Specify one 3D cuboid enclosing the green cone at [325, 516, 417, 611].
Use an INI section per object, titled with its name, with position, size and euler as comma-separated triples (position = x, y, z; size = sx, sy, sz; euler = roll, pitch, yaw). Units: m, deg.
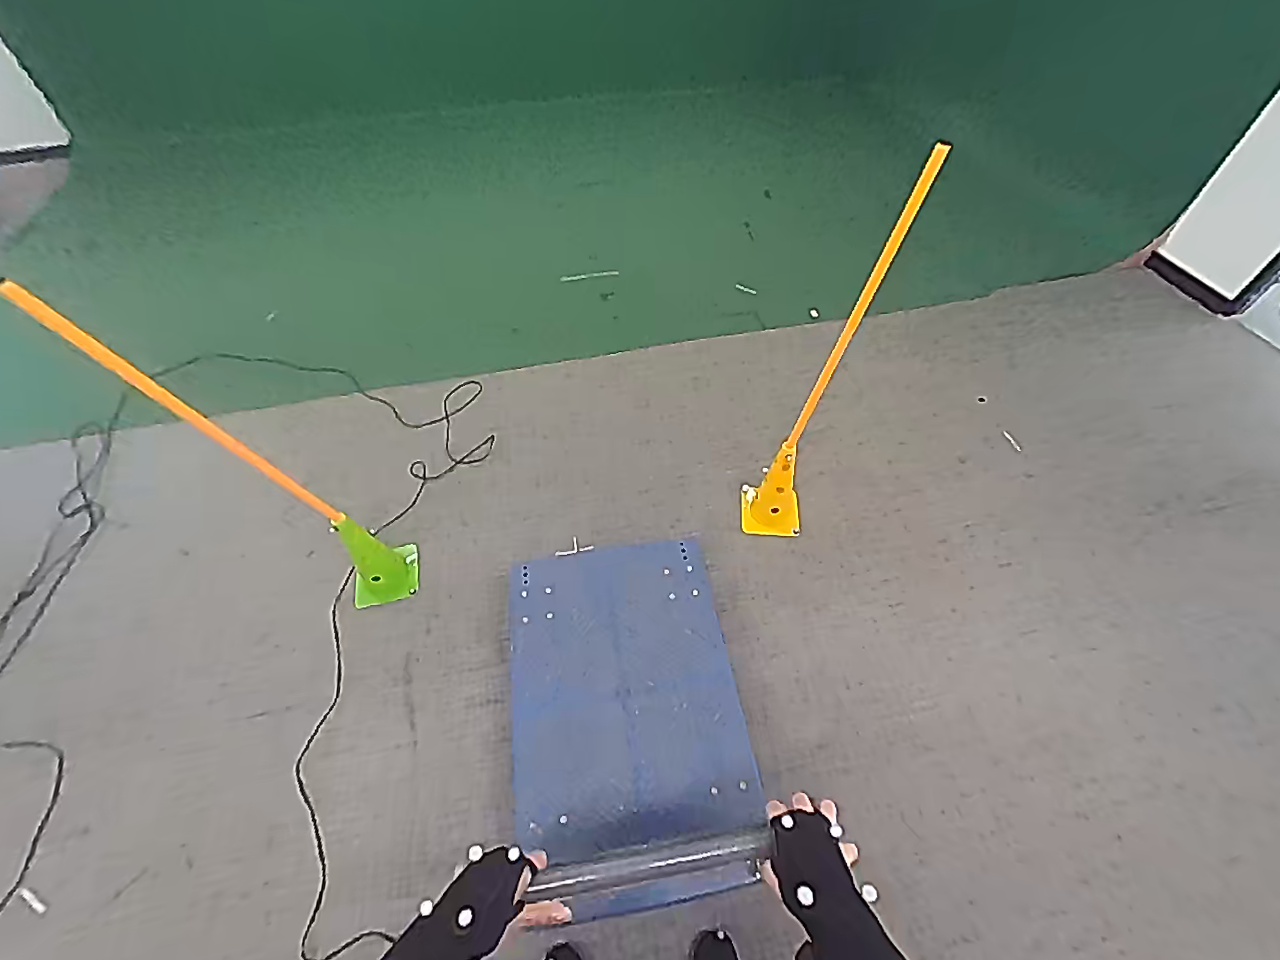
[green cone]
position = -0.857, 0.222, 1.671
size = 0.202, 0.368, 0.200
euler = -15, 53, -7
